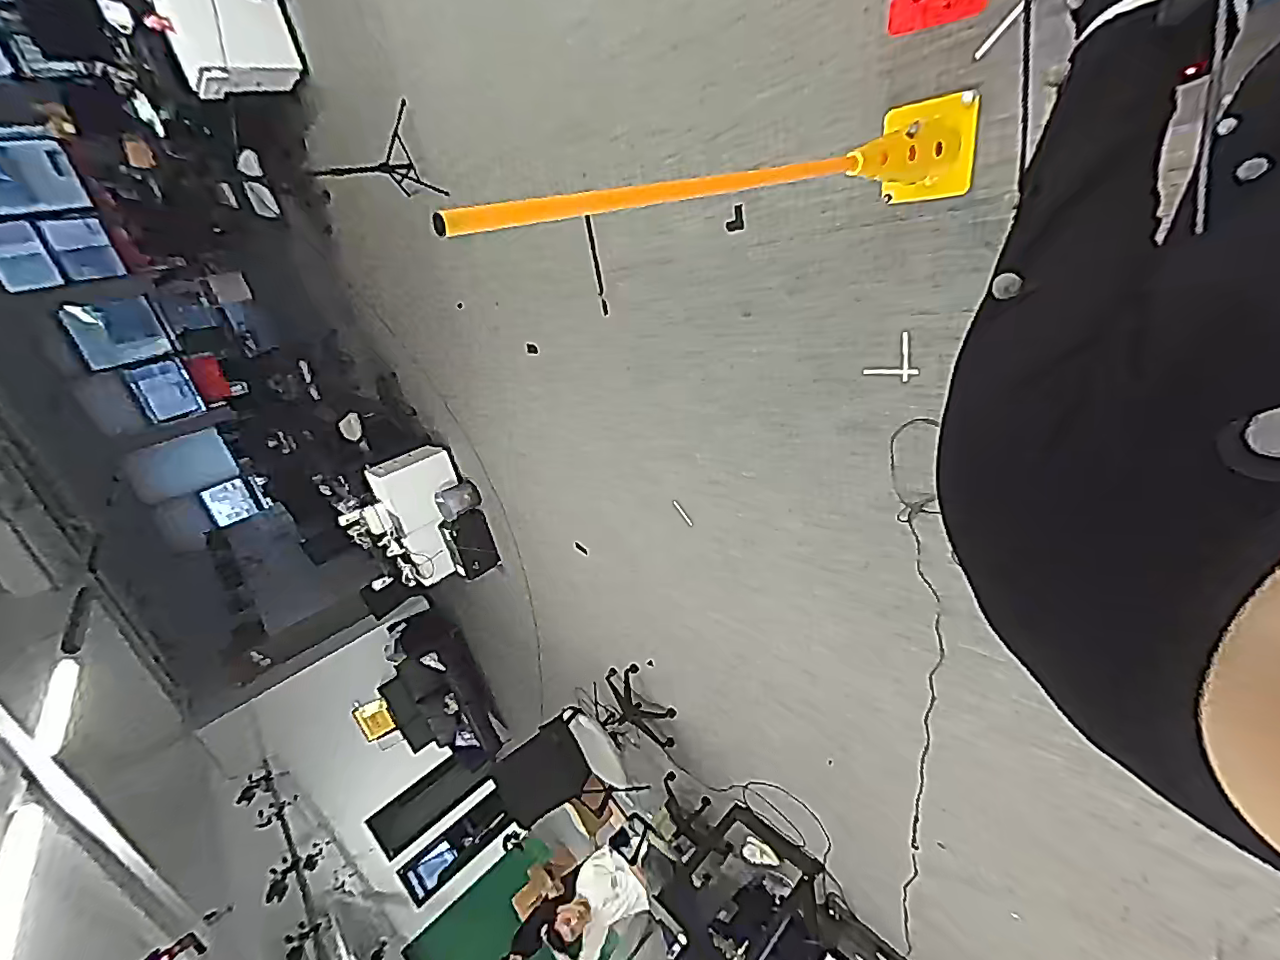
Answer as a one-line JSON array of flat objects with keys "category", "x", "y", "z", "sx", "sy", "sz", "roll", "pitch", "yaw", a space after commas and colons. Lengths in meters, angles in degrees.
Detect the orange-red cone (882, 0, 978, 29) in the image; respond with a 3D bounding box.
[{"category": "orange-red cone", "x": 0.474, "y": -0.977, "z": 0.986, "sx": 0.198, "sy": 0.360, "sz": 0.199, "roll": 22, "pitch": 130, "yaw": 40}]
